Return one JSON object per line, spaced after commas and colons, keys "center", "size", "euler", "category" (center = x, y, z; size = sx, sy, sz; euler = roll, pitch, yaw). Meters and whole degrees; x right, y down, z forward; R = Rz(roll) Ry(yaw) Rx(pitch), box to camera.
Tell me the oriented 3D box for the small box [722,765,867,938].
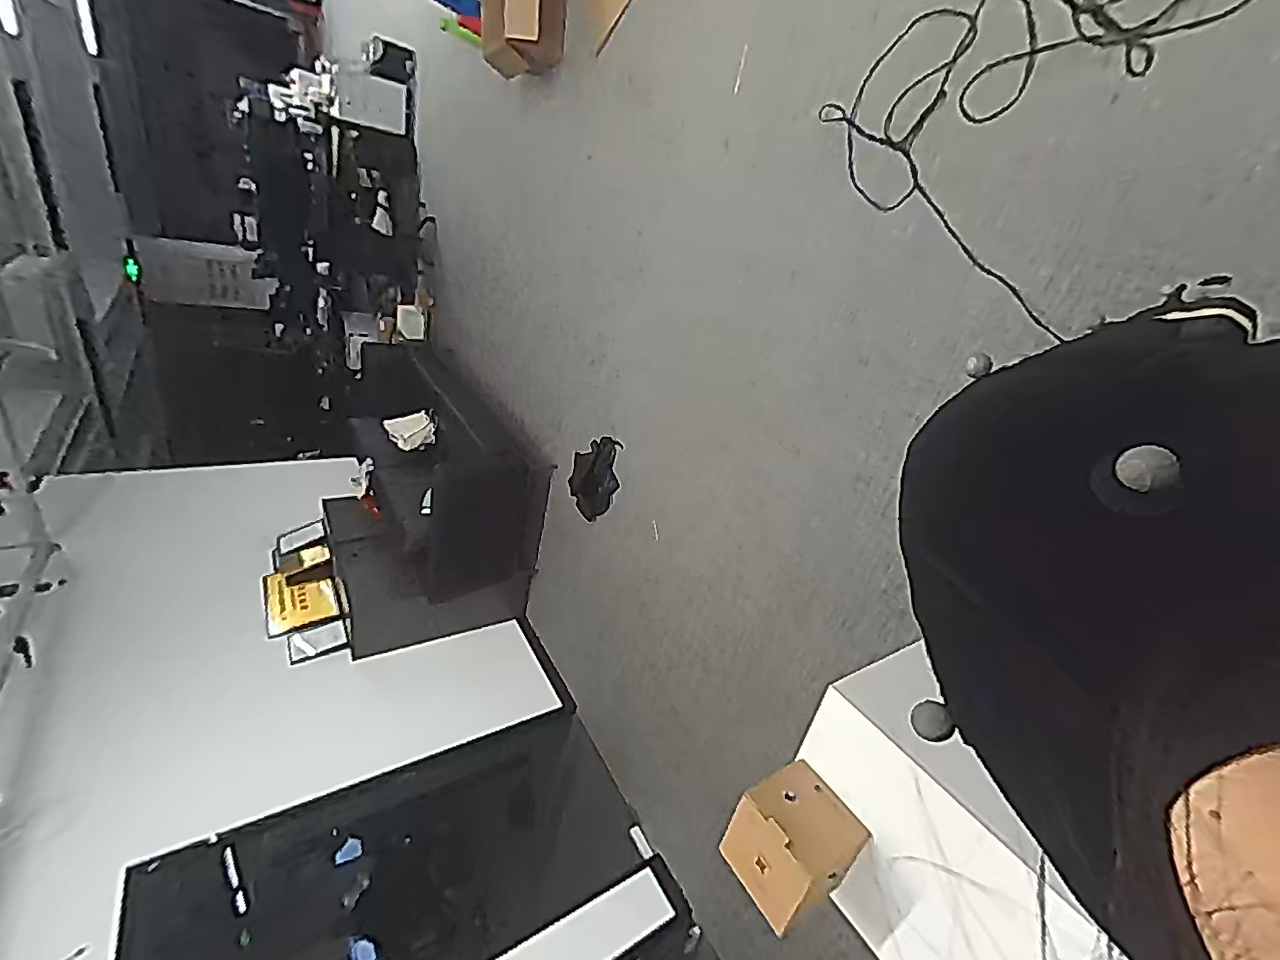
{"center": [0.282, 0.664, 0.988], "size": [0.168, 0.176, 0.179], "euler": [41, 128, 46], "category": "small box"}
